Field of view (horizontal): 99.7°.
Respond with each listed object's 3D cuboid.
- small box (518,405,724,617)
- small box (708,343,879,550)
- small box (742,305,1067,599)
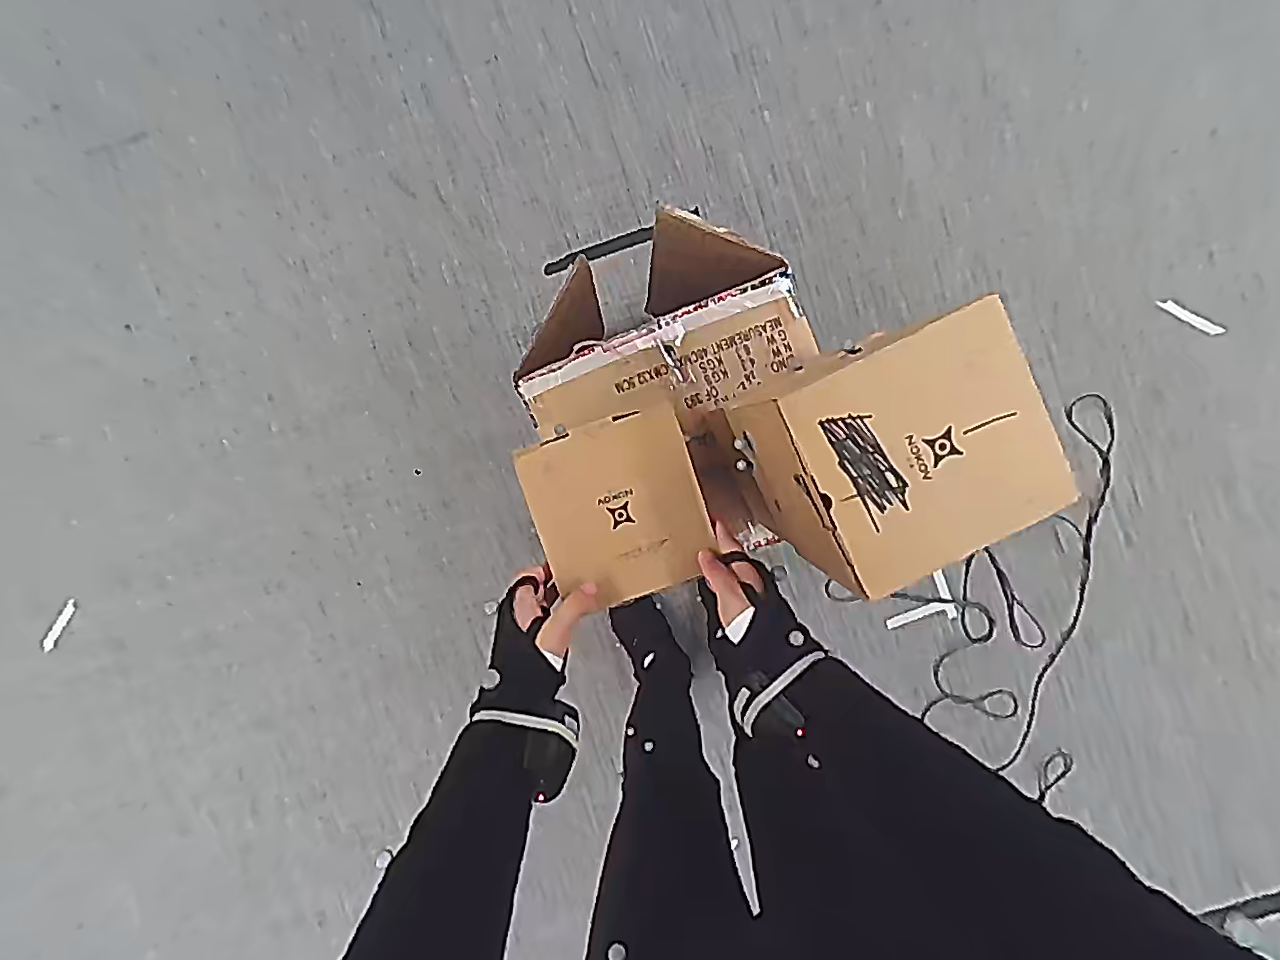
[{"bbox_3d":[-0.021,0.026,0.615,0.168,0.176,0.179,-19,96,0],"label":"small box"},{"bbox_3d":[0.199,-0.042,0.641,0.179,0.176,0.168,-26,95,1],"label":"small box"},{"bbox_3d":[0.204,-0.024,0.475,0.179,0.176,0.168,-26,95,0],"label":"small box"}]
